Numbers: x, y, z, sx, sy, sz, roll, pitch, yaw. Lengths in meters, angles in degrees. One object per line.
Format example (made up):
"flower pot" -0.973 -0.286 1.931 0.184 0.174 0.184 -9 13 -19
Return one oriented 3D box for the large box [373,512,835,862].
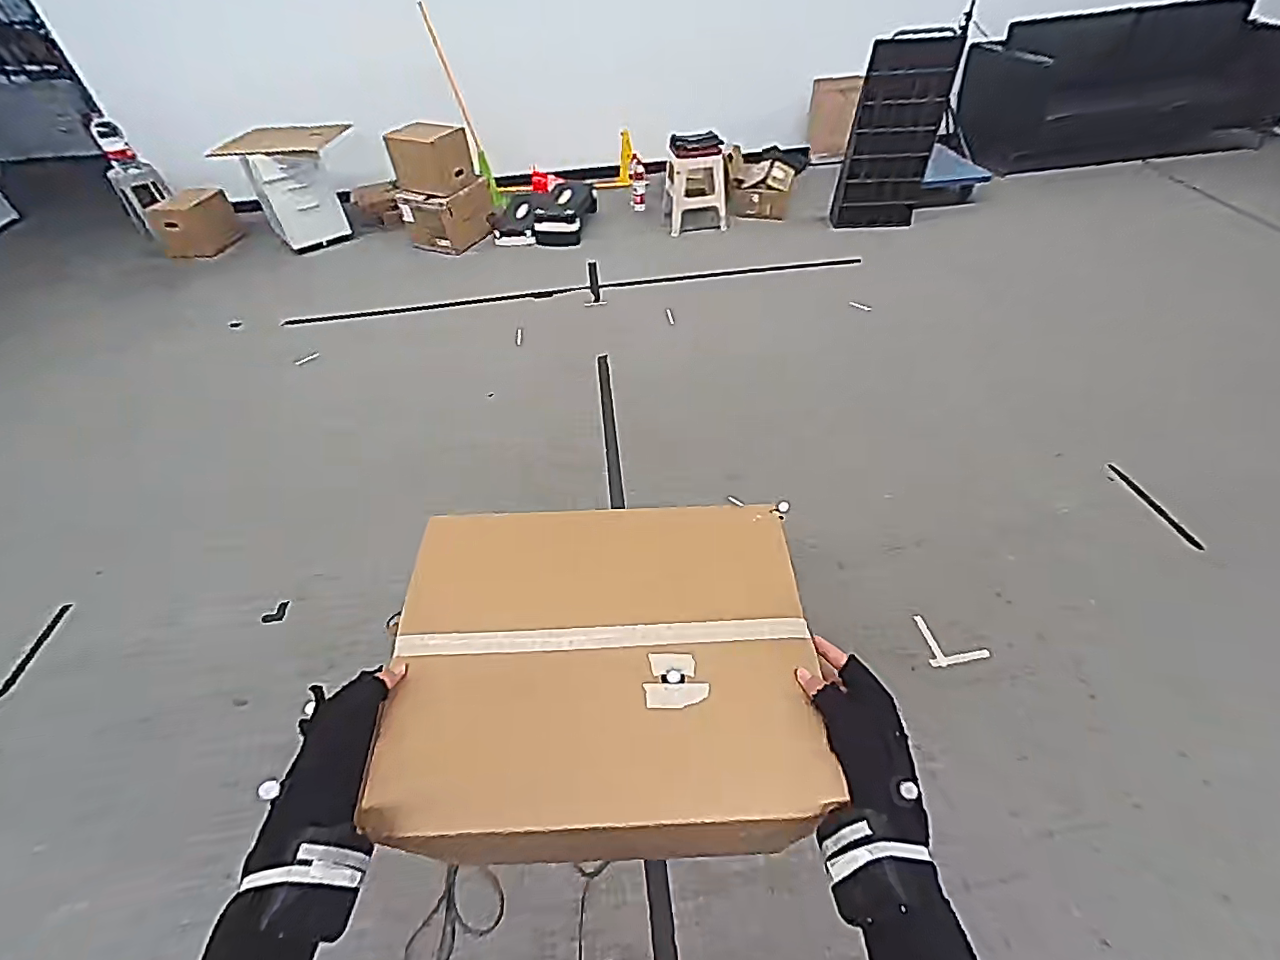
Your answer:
"large box" -0.037 0.258 0.664 0.408 0.320 0.320 -2 52 -1
